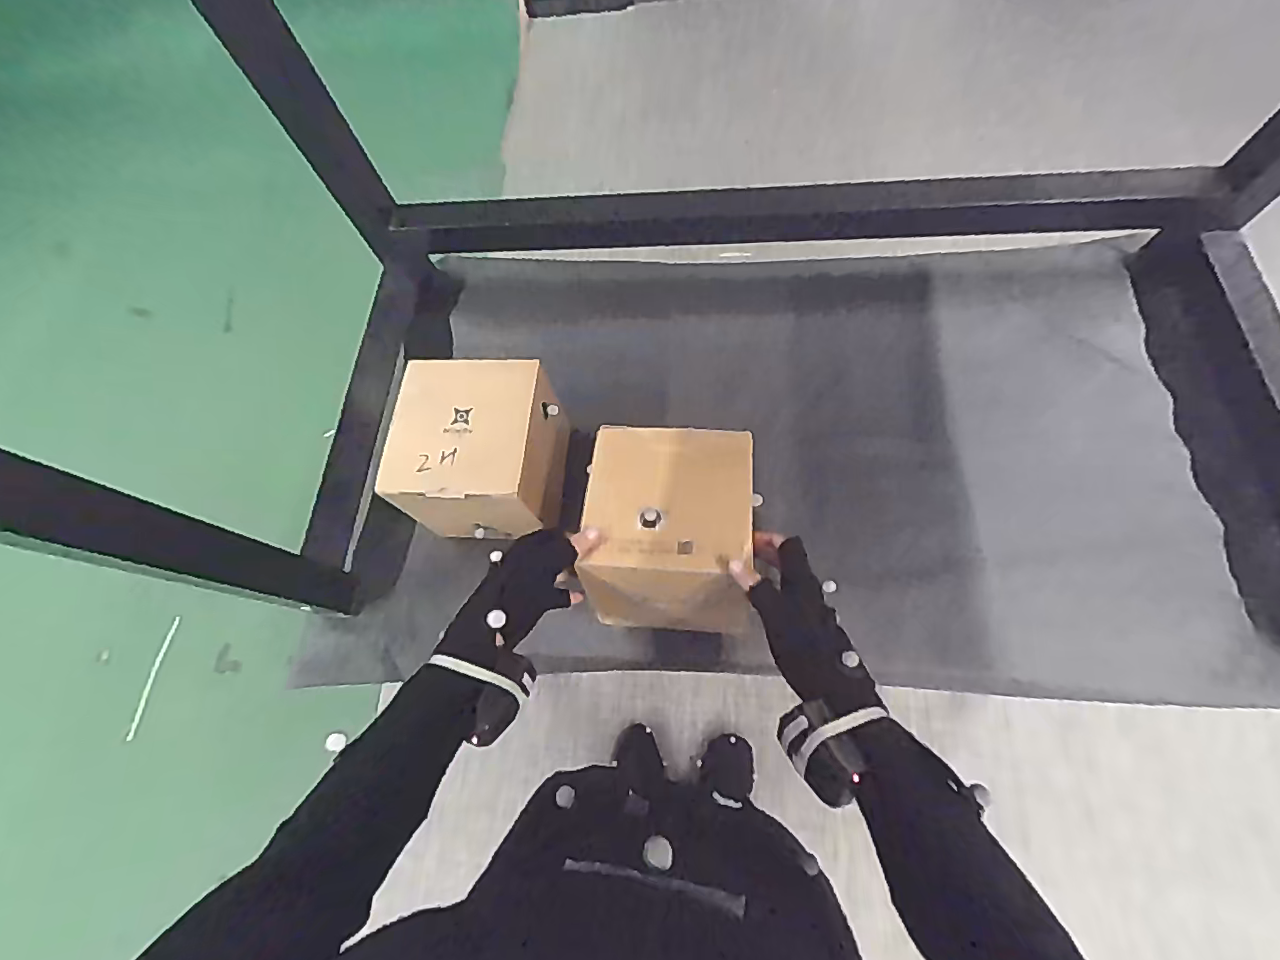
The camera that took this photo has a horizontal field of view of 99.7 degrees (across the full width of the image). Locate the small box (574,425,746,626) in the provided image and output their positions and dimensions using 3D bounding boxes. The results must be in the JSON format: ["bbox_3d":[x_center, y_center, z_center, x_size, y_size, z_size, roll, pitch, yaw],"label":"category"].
[{"bbox_3d":[0.030,0.059,0.604,0.168,0.179,0.176,2,57,8],"label":"small box"}]

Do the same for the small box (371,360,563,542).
[{"bbox_3d":[-0.200,-0.032,0.687,0.168,0.176,0.179,1,67,7],"label":"small box"}]
